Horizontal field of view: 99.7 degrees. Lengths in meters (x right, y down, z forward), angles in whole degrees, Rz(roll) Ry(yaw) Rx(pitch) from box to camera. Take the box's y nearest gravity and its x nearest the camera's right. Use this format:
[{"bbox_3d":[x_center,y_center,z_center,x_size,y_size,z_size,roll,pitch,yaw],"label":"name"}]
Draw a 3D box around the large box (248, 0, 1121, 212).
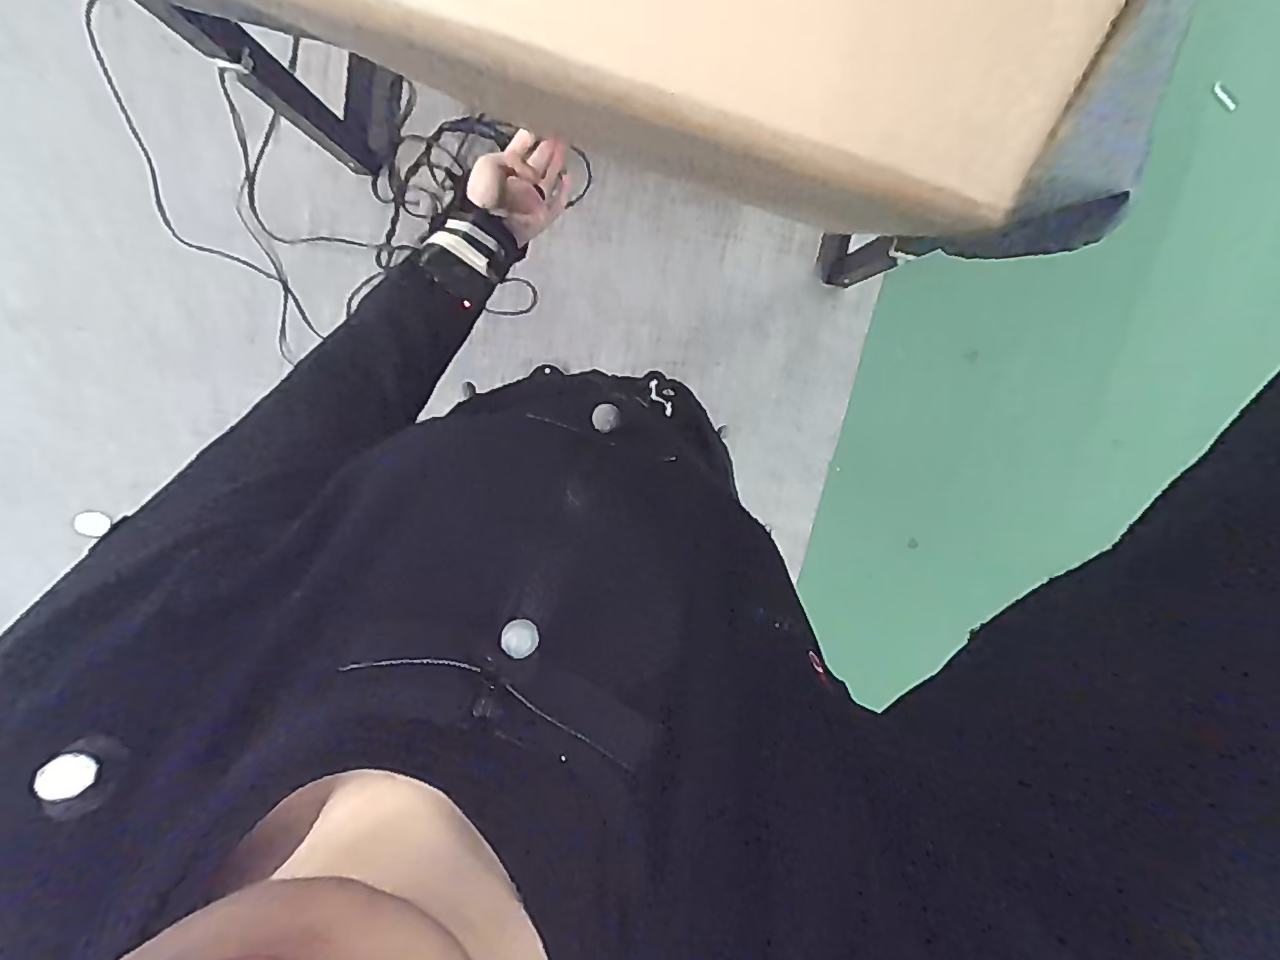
[{"bbox_3d":[0.041,-0.348,0.277,0.320,0.408,0.320,19,117,1],"label":"large box"}]
